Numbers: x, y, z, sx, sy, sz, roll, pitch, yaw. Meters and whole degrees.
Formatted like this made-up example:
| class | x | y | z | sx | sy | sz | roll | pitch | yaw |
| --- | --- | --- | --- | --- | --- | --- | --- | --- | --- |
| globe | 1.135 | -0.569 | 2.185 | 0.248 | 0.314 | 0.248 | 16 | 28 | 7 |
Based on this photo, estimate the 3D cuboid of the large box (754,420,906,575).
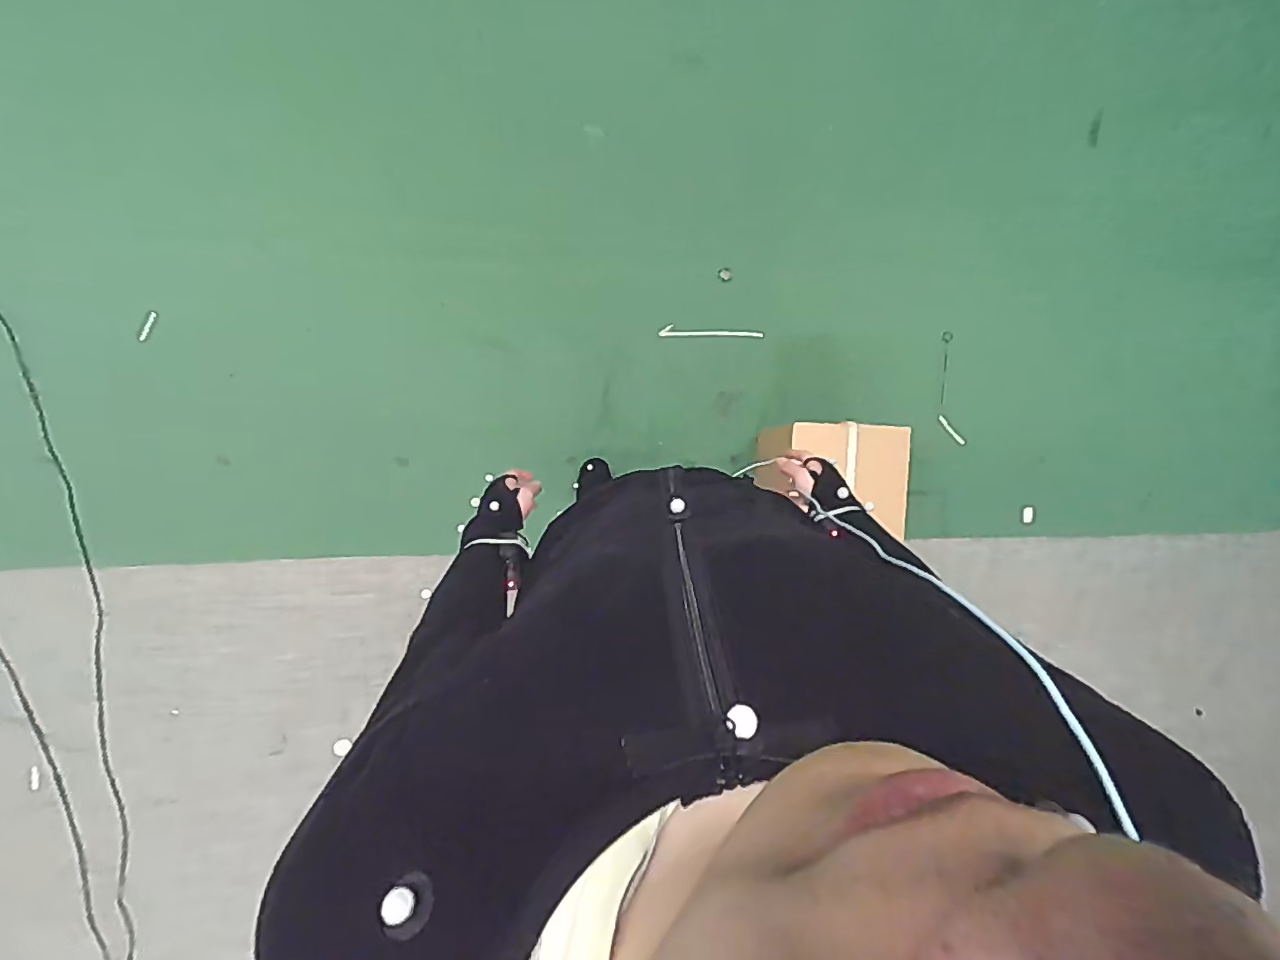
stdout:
| class | x | y | z | sx | sy | sz | roll | pitch | yaw |
| --- | --- | --- | --- | --- | --- | --- | --- | --- | --- |
| large box | 0.519 | 0.037 | 1.538 | 0.320 | 0.320 | 0.408 | 1 | 93 | -4 |
